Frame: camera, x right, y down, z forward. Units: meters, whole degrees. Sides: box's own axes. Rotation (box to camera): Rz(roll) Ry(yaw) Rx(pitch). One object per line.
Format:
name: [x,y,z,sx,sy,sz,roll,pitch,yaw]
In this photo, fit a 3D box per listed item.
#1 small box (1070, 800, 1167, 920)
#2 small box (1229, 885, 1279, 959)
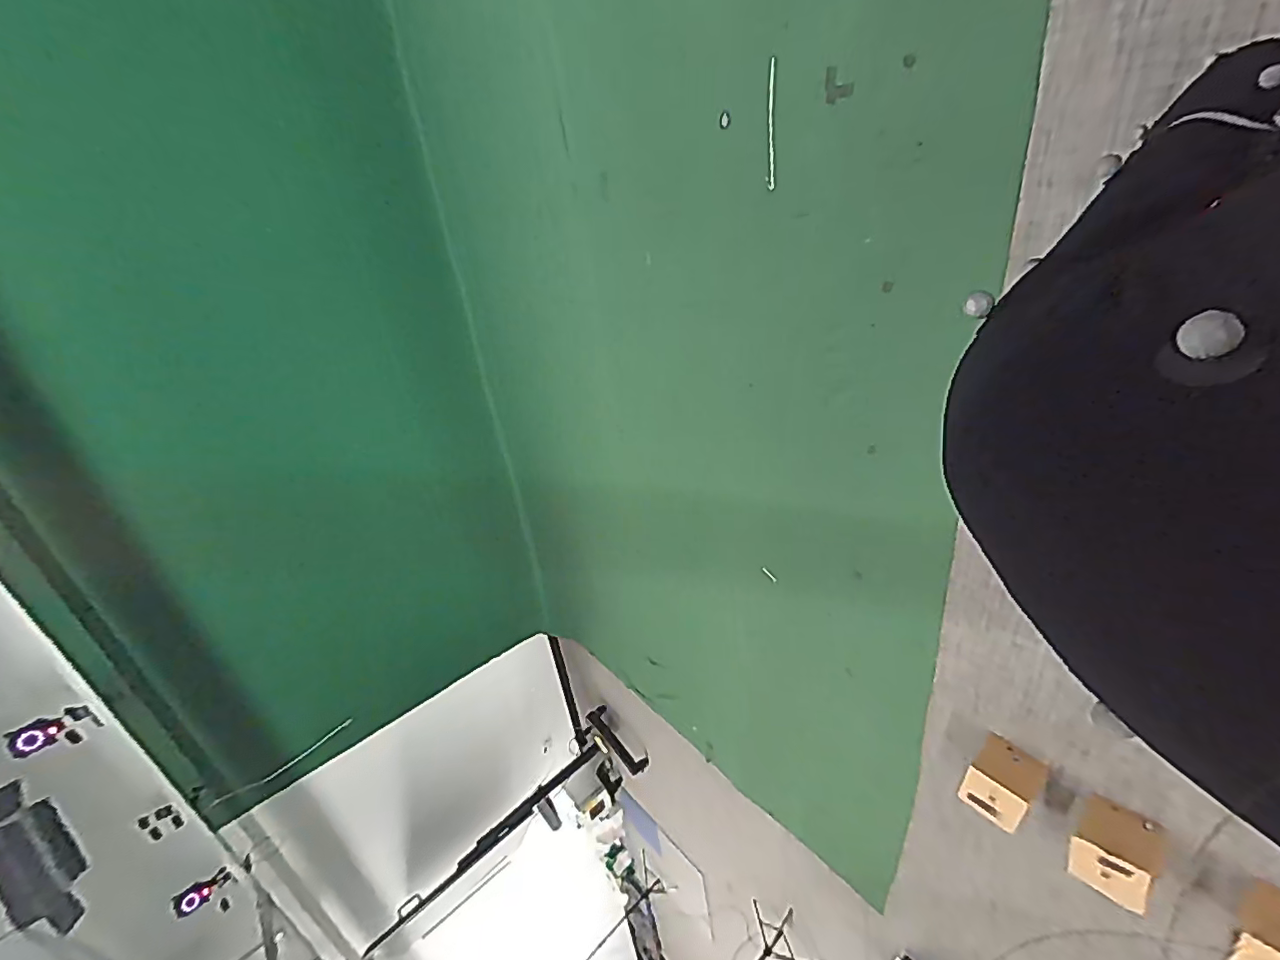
small box: [1.327,1.042,1.500,0.168,0.176,0.179,14,124,51]
small box: [1.529,1.118,1.267,0.168,0.176,0.179,19,126,48]
